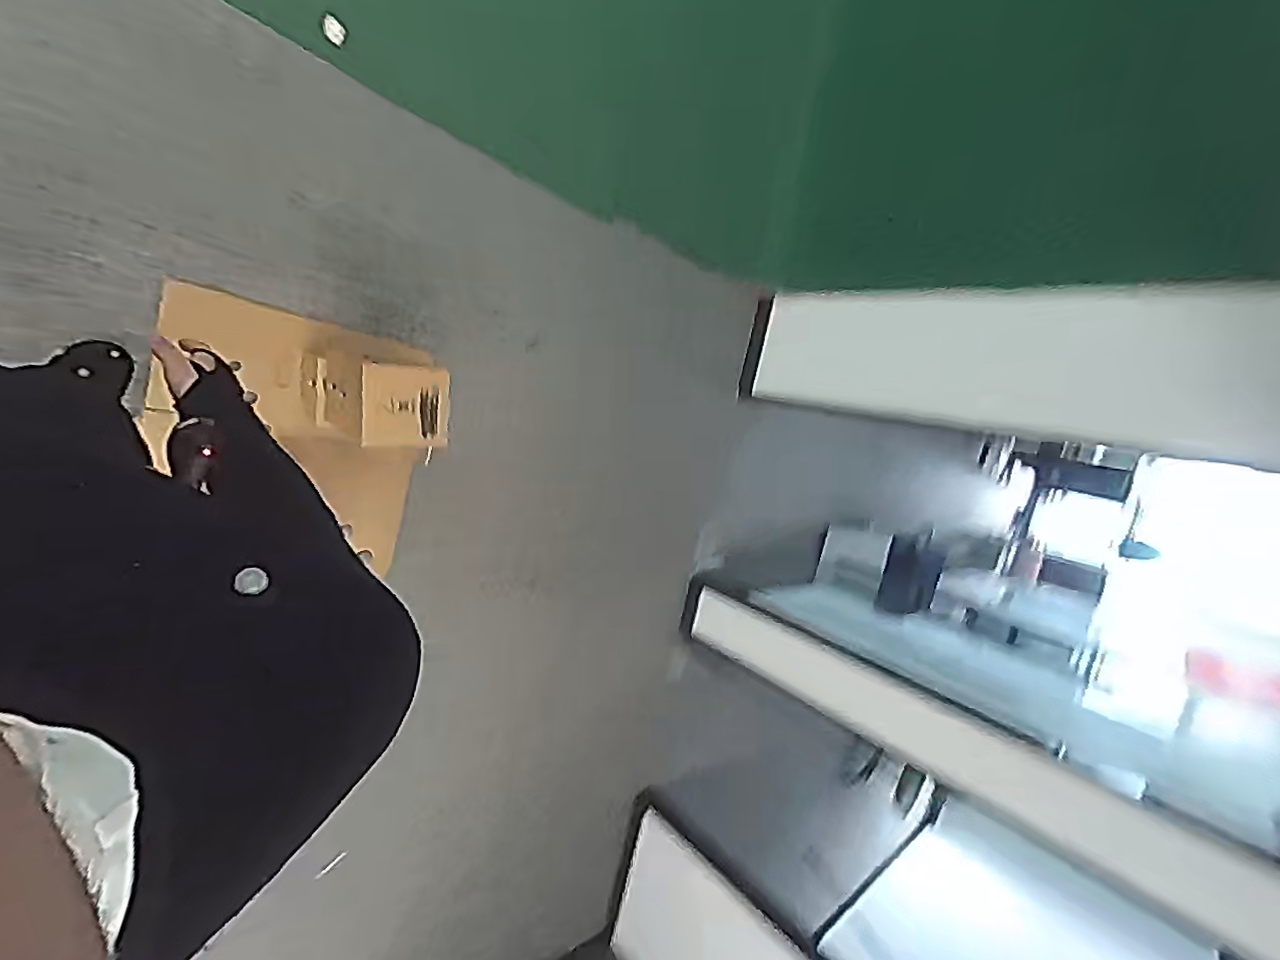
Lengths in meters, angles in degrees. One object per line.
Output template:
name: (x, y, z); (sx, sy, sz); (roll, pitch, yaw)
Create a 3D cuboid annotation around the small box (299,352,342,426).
small box: (-0.752, -0.231, 1.388); (0.179, 0.176, 0.168); (-1, 105, -43)

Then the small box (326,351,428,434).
small box: (-0.627, -0.208, 1.280); (0.179, 0.176, 0.168); (0, 105, -44)
